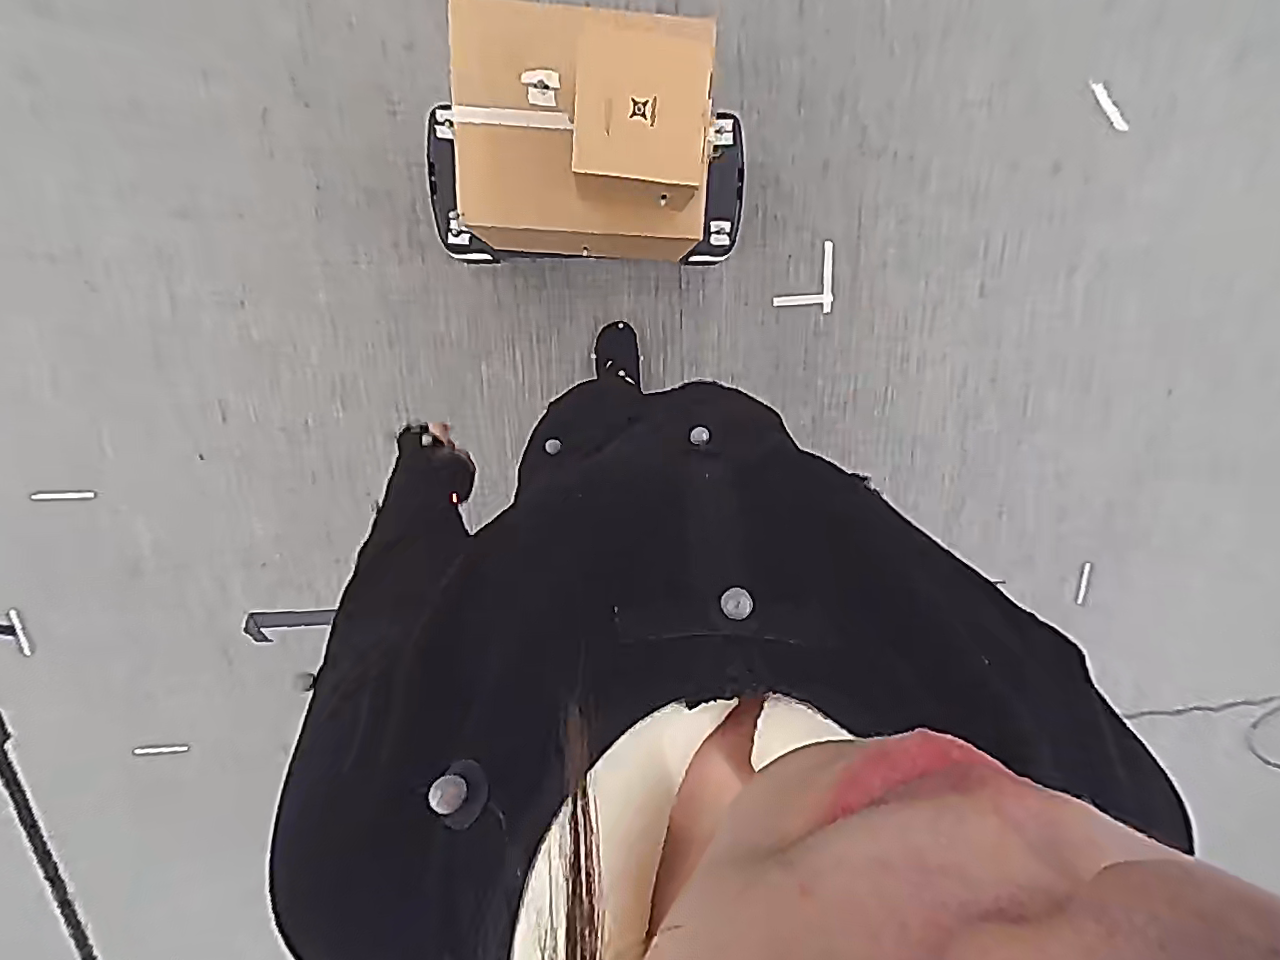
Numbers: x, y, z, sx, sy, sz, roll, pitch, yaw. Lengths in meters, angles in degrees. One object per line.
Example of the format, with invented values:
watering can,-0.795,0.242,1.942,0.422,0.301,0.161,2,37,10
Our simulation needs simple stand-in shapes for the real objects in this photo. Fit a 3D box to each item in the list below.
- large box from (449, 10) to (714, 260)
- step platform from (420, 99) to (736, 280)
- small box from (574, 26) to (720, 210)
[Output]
large box,-0.094,-0.585,0.989,0.408,0.320,0.320,1,105,-3
step platform,-0.131,-0.637,1.220,0.684,0.204,0.286,4,105,-4
small box,0.002,-0.494,0.766,0.179,0.176,0.168,4,106,-5
